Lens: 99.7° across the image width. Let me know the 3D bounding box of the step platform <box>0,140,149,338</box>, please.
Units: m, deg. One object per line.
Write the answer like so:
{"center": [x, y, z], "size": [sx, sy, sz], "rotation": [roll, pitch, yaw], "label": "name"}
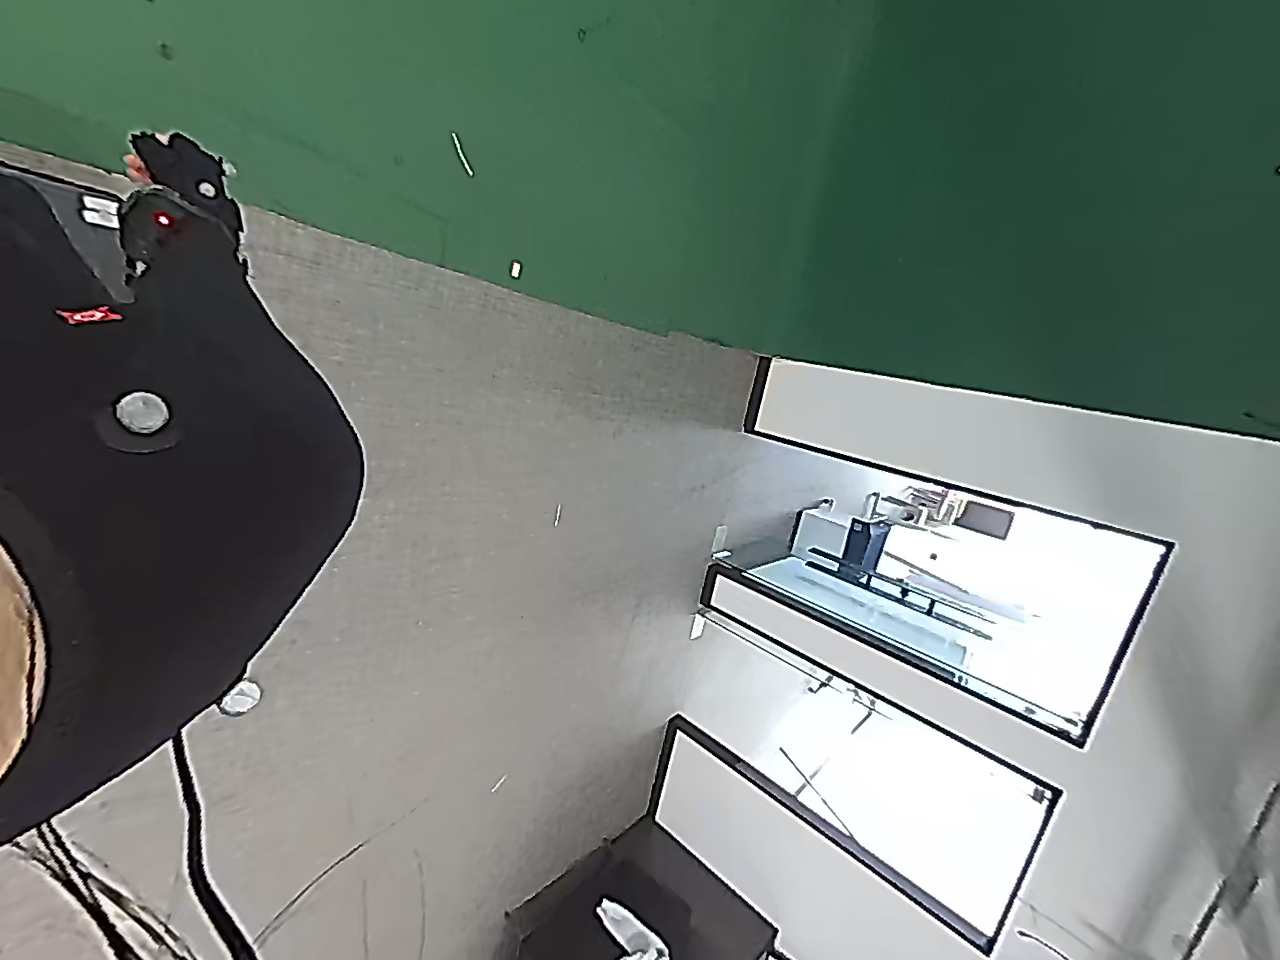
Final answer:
{"center": [-1.142, -0.397, 0.736], "size": [0.684, 0.204, 0.286], "rotation": [-2, 109, -50], "label": "step platform"}
